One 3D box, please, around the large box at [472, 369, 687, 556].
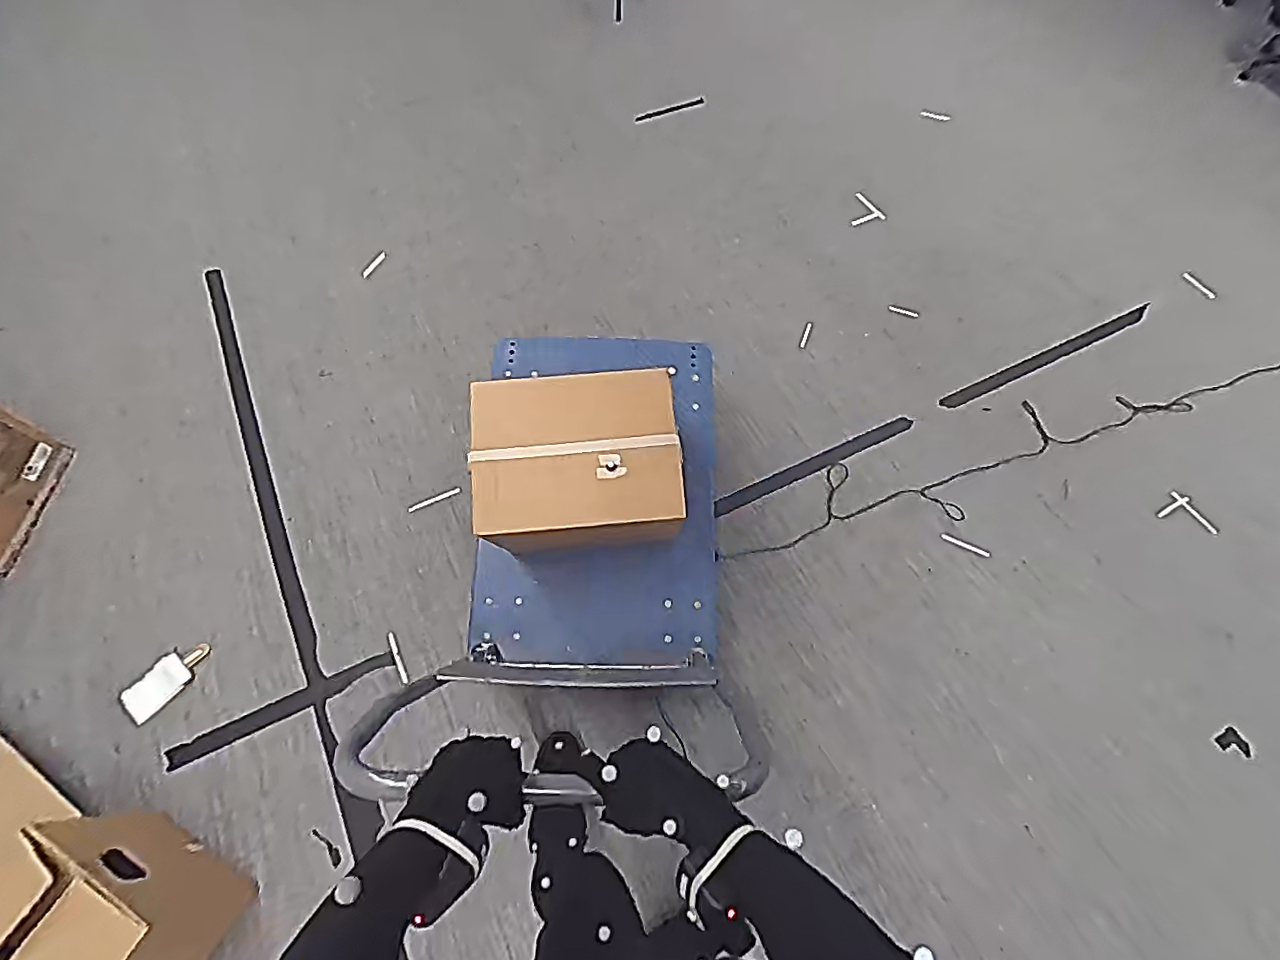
[{"bbox_3d":[-0.129,-0.022,1.206,0.408,0.320,0.320,-6,77,-3],"label":"large box"}]
